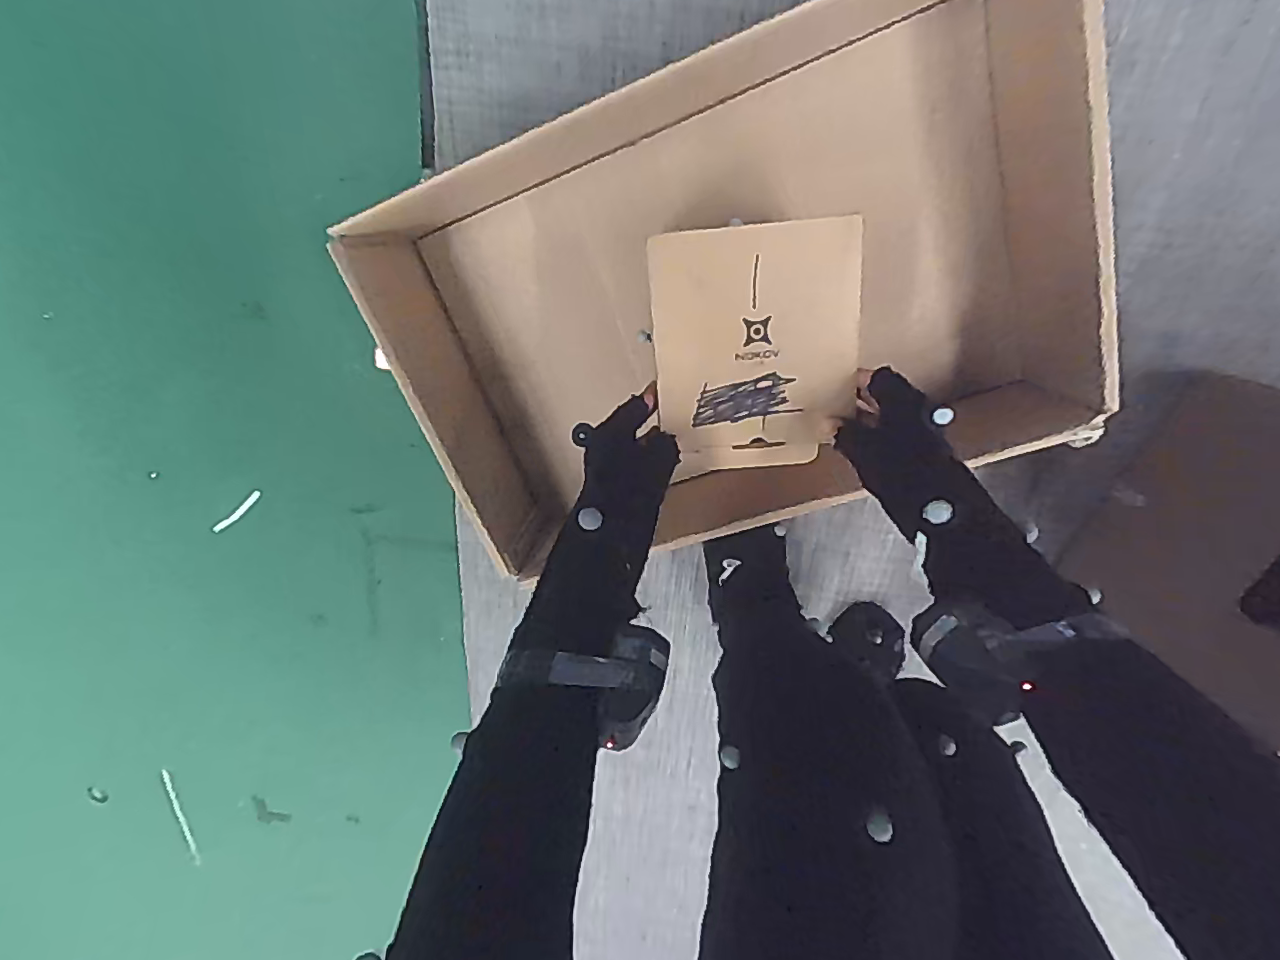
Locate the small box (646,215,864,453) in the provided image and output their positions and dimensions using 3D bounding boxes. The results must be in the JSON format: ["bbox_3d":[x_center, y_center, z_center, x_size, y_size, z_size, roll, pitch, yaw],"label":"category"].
[{"bbox_3d":[0.095,-0.136,0.510,0.168,0.176,0.179,-6,108,2],"label":"small box"}]
